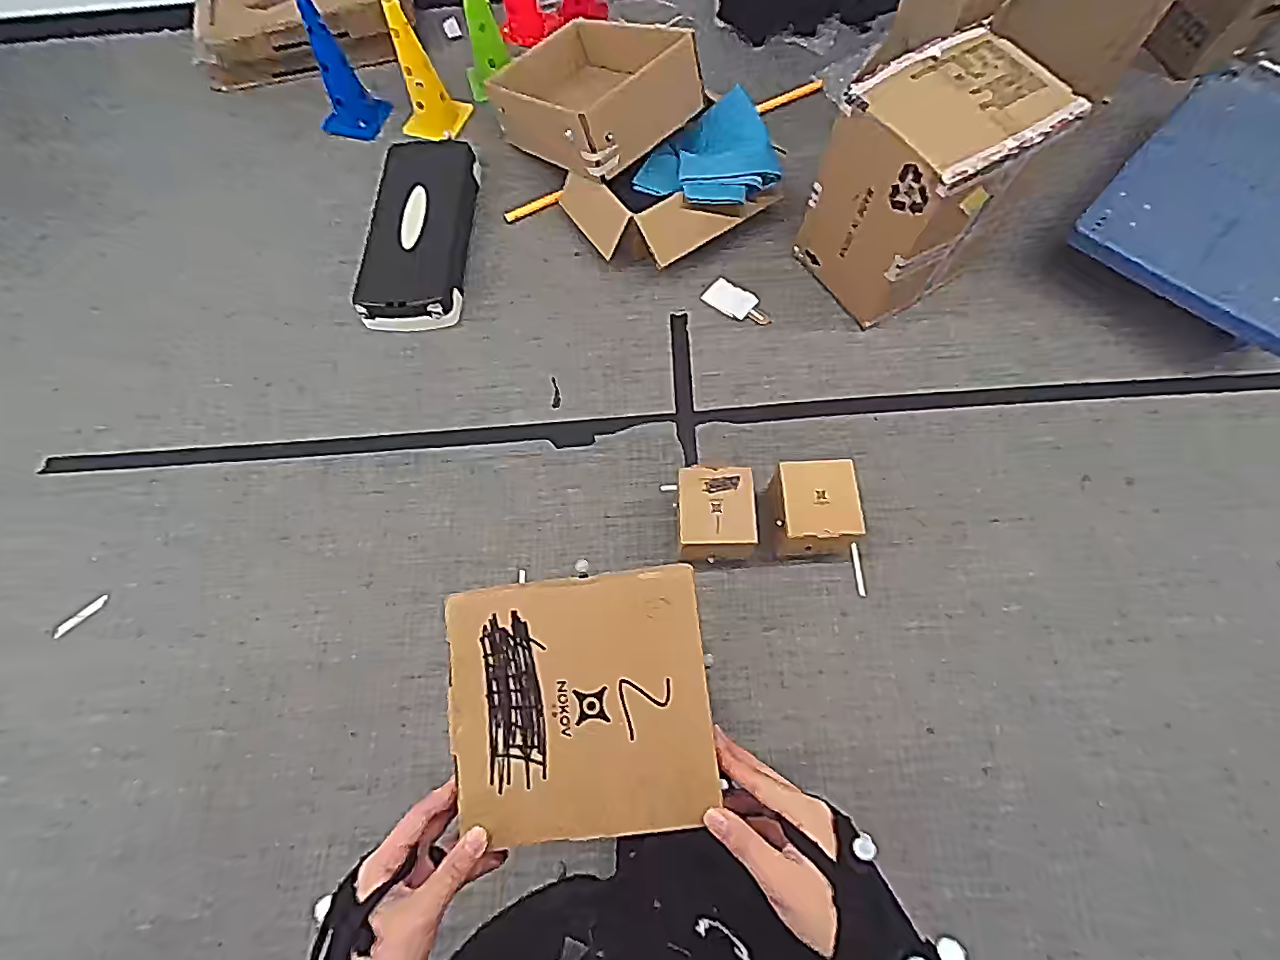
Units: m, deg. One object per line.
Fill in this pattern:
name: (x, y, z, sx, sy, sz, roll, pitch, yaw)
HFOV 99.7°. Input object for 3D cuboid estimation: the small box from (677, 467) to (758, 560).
small box: (0.171, 0.080, 1.247, 0.168, 0.176, 0.179, -1, 70, 2)

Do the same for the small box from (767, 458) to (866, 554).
small box: (0.397, 0.063, 1.248, 0.168, 0.176, 0.179, -3, 69, 1)
